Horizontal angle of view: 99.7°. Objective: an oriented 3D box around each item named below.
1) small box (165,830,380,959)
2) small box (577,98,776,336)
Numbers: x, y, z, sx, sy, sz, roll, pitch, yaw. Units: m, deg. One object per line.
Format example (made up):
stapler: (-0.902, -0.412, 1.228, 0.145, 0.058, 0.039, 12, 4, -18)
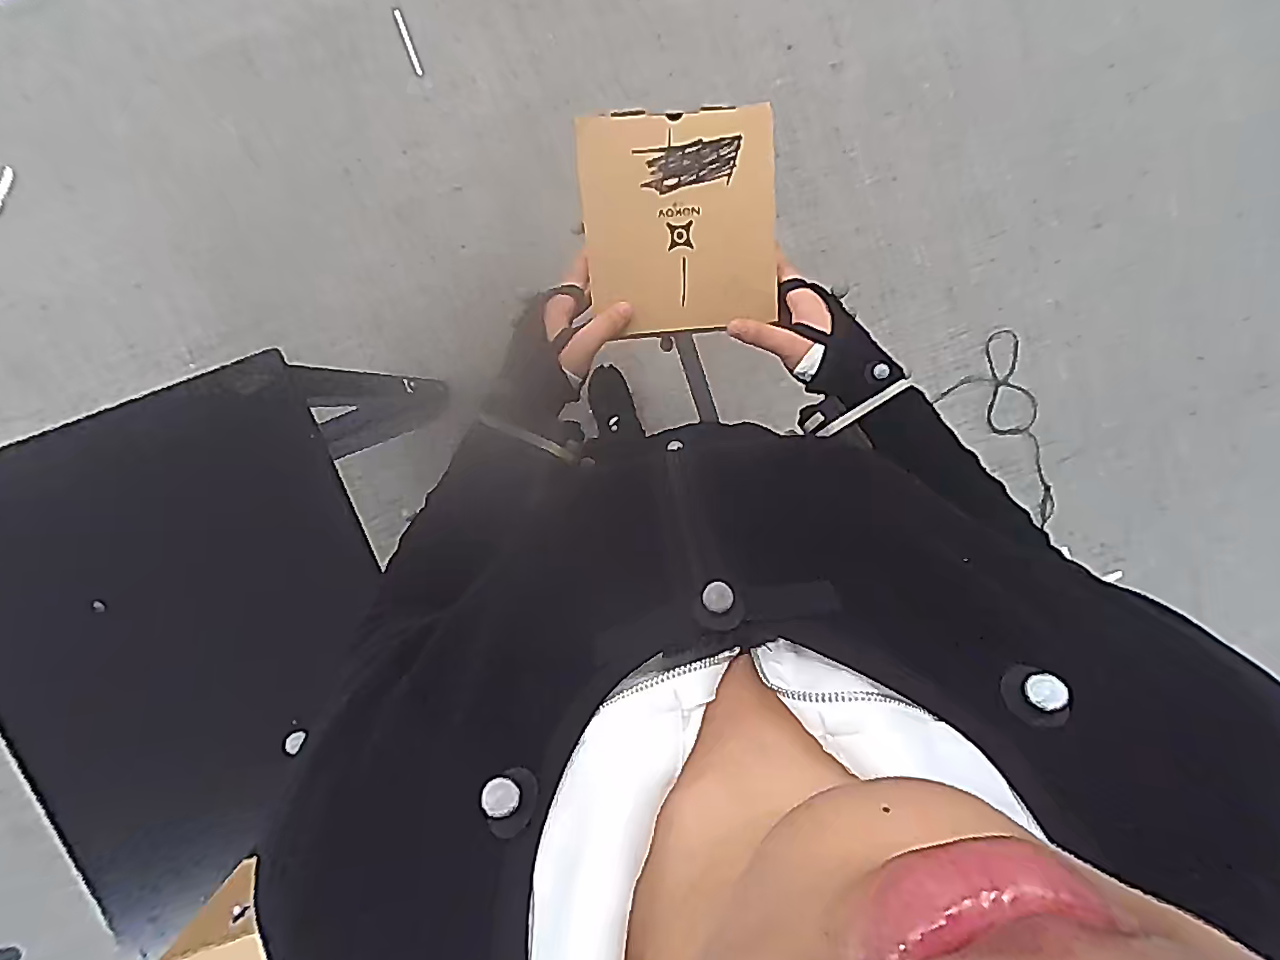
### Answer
small box: (-0.492, 0.633, 0.750, 0.179, 0.176, 0.168, -20, 97, 2)
small box: (0.028, -0.240, 0.535, 0.168, 0.176, 0.179, -6, 104, -3)
